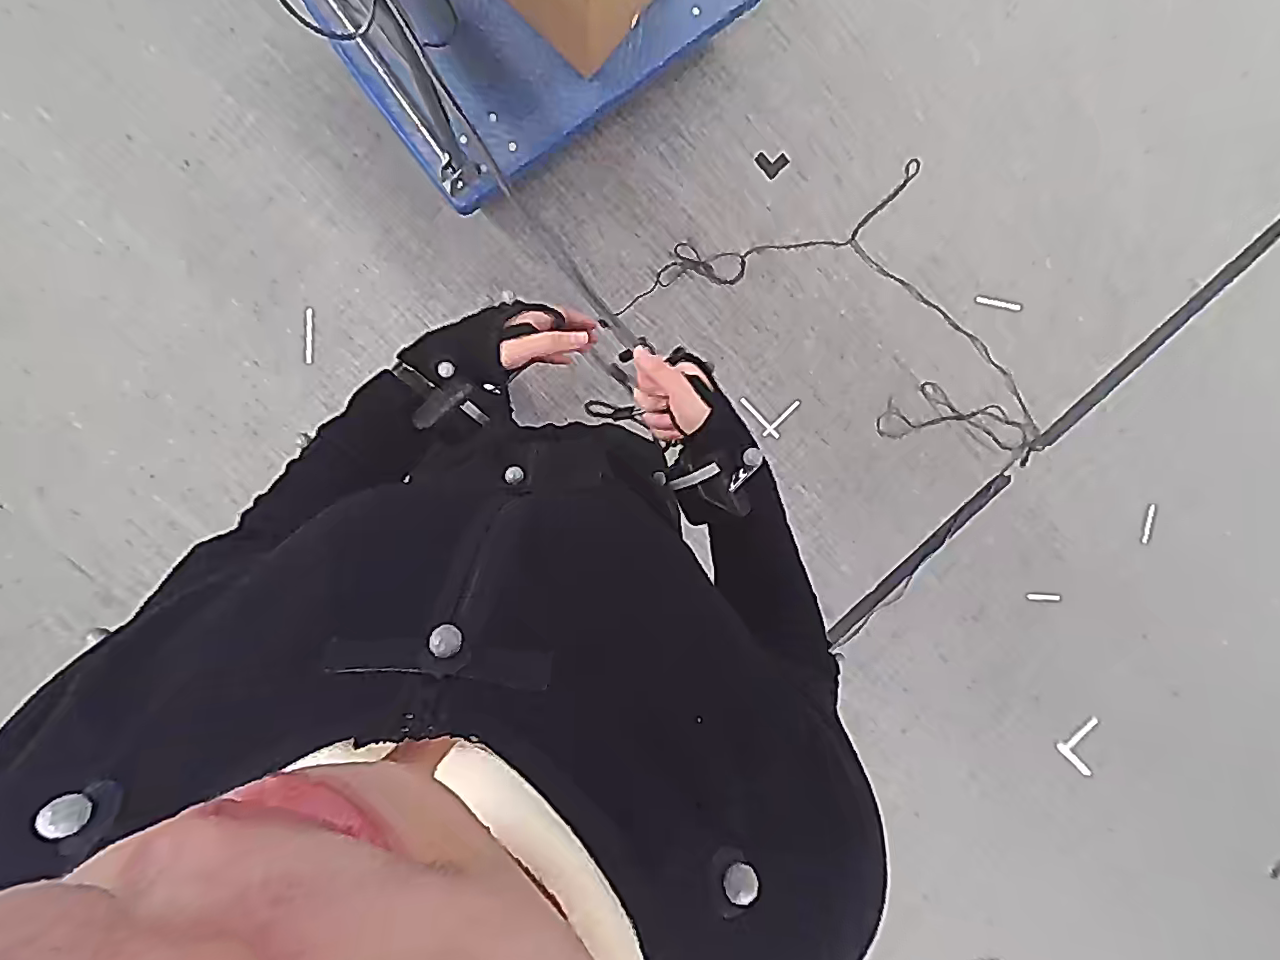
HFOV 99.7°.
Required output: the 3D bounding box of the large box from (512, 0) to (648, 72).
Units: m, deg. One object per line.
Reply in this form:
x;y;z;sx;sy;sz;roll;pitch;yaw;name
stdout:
-0.149;-1.094;0.985;0.408;0.320;0.320;39;94;-11;large box
